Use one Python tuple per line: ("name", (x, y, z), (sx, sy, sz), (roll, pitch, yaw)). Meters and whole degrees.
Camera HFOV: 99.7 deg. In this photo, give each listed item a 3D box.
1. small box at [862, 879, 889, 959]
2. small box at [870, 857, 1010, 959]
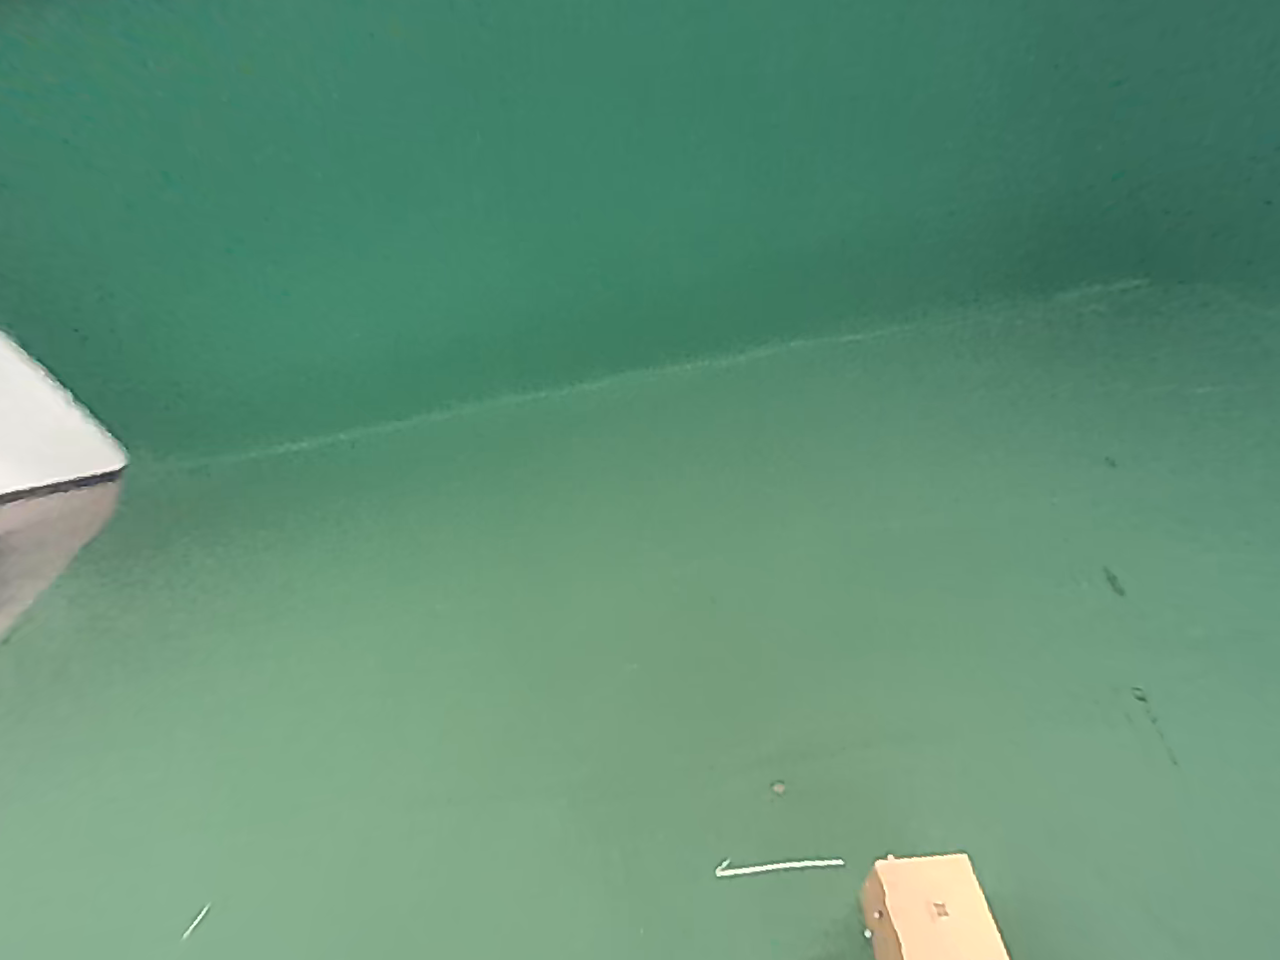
("small box", (0.593, 0.964, 1.152), (0.179, 0.176, 0.168), (-8, 42, 6))
("small box", (0.565, 0.849, 1.042), (0.179, 0.176, 0.168), (-9, 42, 6))
